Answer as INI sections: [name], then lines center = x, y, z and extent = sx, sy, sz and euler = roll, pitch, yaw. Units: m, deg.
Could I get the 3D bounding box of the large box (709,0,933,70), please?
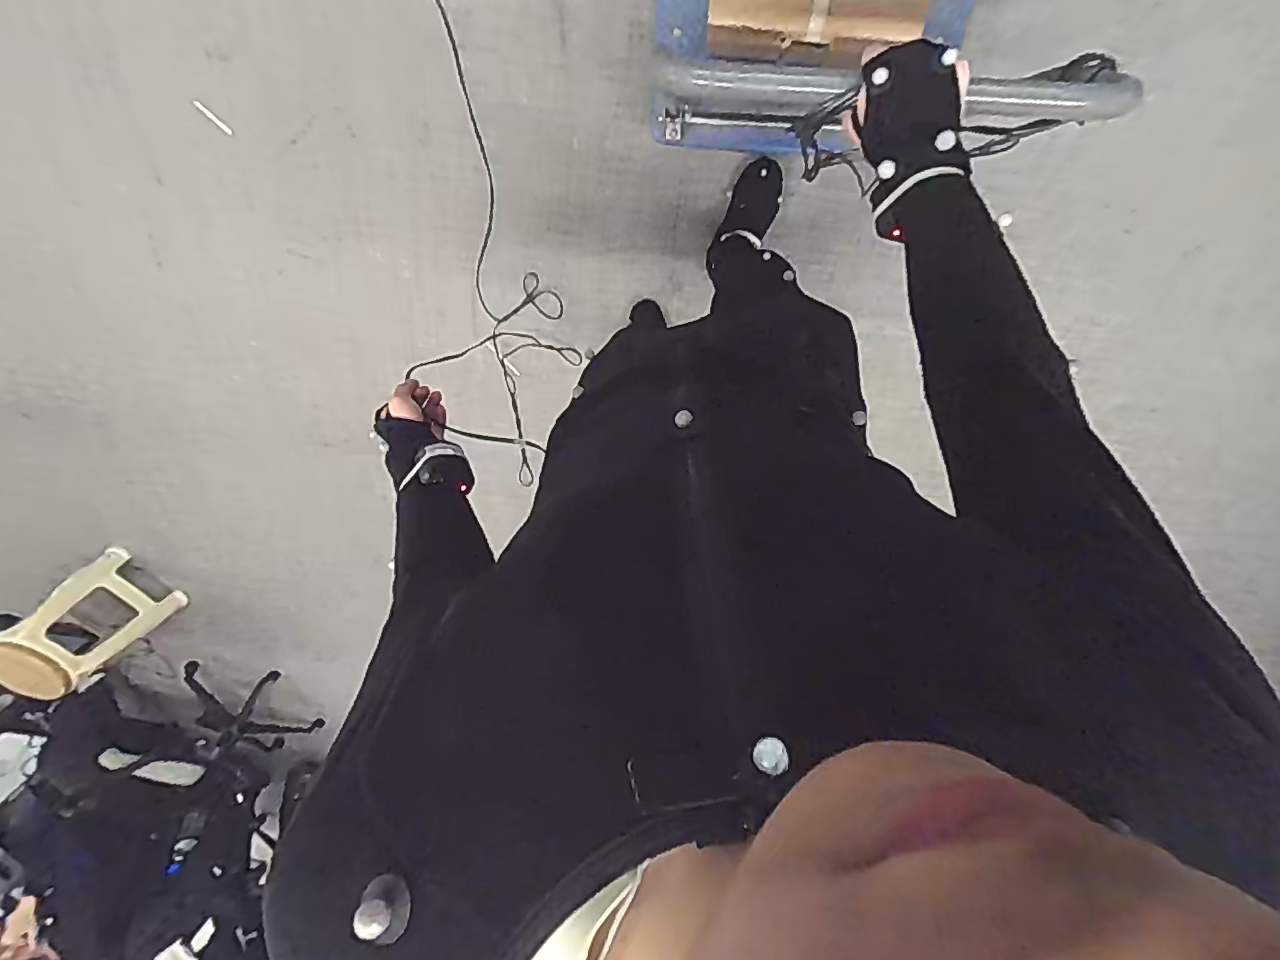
[large box]
center = 0.284, -0.890, 0.810
extent = 0.320, 0.320, 0.408
euler = 7, 121, 2
